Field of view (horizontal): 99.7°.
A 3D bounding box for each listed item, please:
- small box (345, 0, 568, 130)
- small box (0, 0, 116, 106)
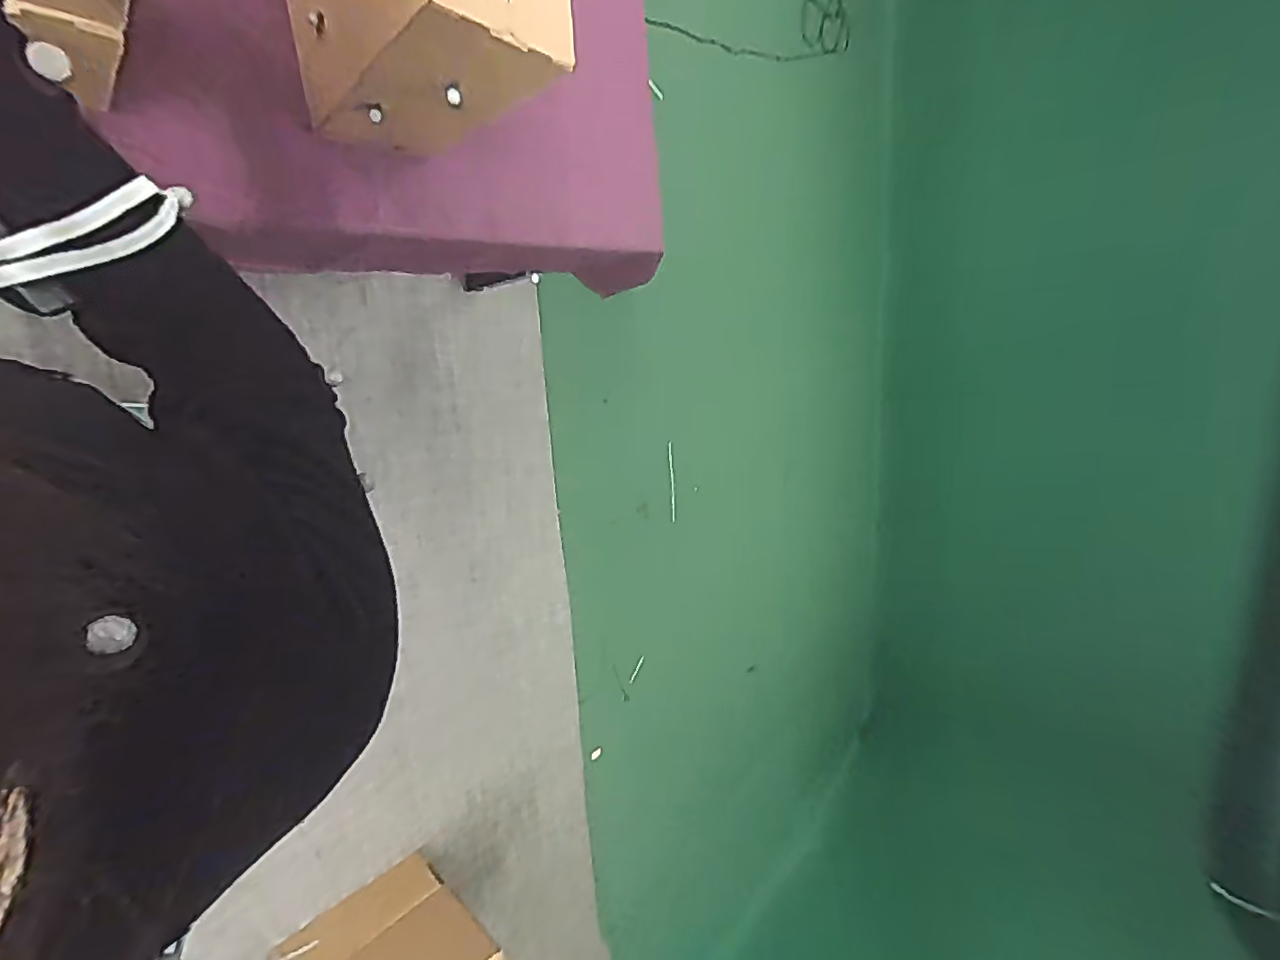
[{"bbox_3d":[-0.196,-0.510,0.567,0.168,0.176,0.179,-14,106,-46],"label":"small box"},{"bbox_3d":[-0.553,-0.436,0.429,0.168,0.176,0.179,-17,109,-46],"label":"small box"}]
